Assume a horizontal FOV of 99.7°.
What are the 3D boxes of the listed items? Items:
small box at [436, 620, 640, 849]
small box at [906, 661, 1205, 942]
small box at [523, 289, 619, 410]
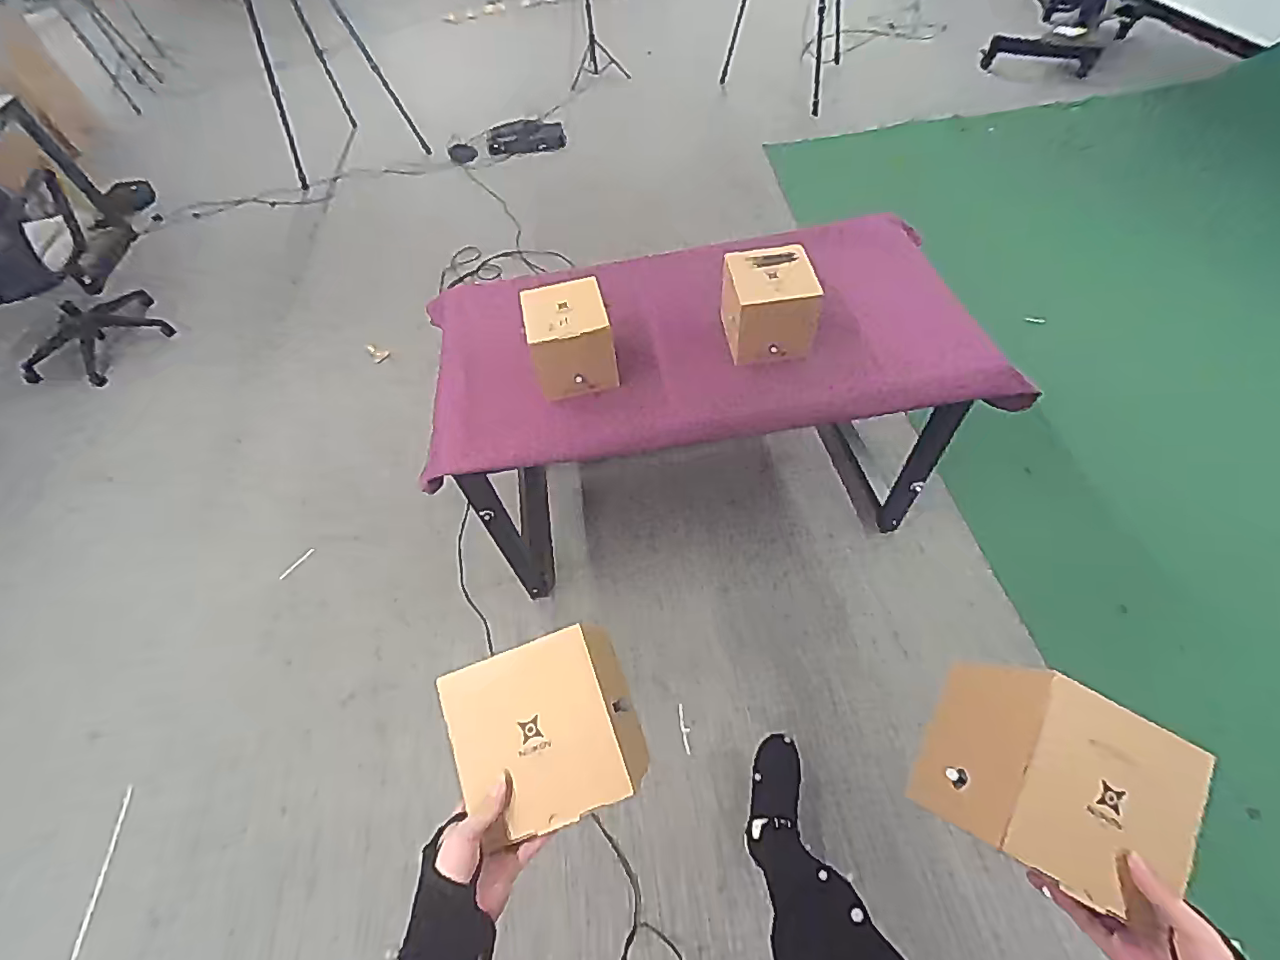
[{"bbox_3d":[-0.107,0.277,0.626,0.168,0.176,0.179,-21,73,-1],"label":"small box"},{"bbox_3d":[0.416,0.312,0.572,0.168,0.176,0.179,29,75,5],"label":"small box"},{"bbox_3d":[-0.148,-0.281,1.173,0.168,0.176,0.179,-13,54,-2],"label":"small box"}]
